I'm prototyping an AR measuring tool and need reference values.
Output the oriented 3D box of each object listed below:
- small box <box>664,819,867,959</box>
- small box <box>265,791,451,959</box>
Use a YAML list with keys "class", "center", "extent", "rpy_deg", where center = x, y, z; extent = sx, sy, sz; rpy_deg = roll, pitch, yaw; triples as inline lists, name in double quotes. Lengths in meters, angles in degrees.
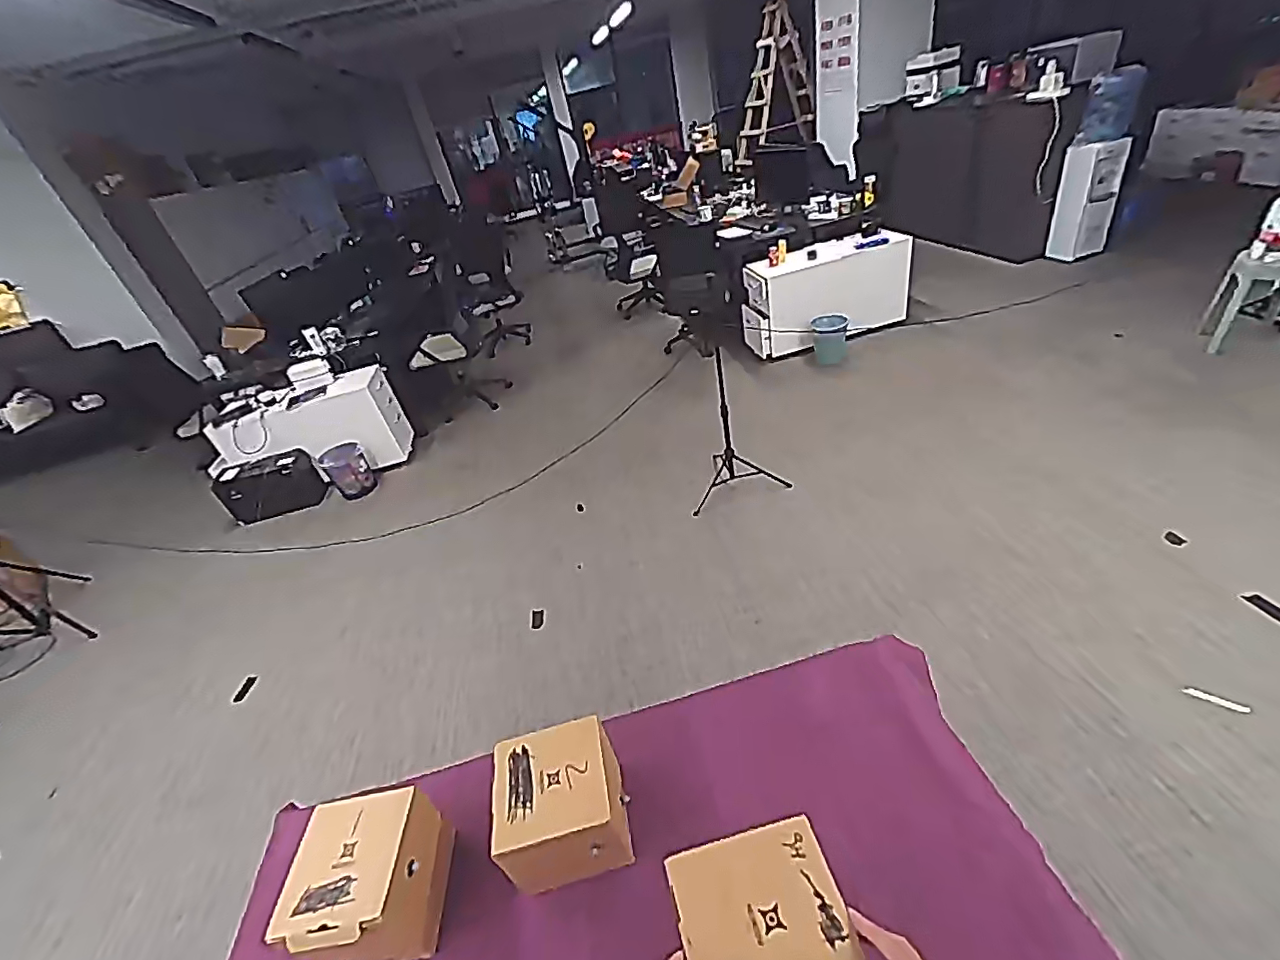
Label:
- class: "small box"
  center: [0.137, 0.522, 0.604]
  extent: [0.179, 0.176, 0.168]
  rpy_deg: [-13, 38, -6]
- class: "small box"
  center: [-0.408, 0.614, 0.822]
  extent: [0.168, 0.176, 0.179]
  rpy_deg: [-12, 35, 2]
